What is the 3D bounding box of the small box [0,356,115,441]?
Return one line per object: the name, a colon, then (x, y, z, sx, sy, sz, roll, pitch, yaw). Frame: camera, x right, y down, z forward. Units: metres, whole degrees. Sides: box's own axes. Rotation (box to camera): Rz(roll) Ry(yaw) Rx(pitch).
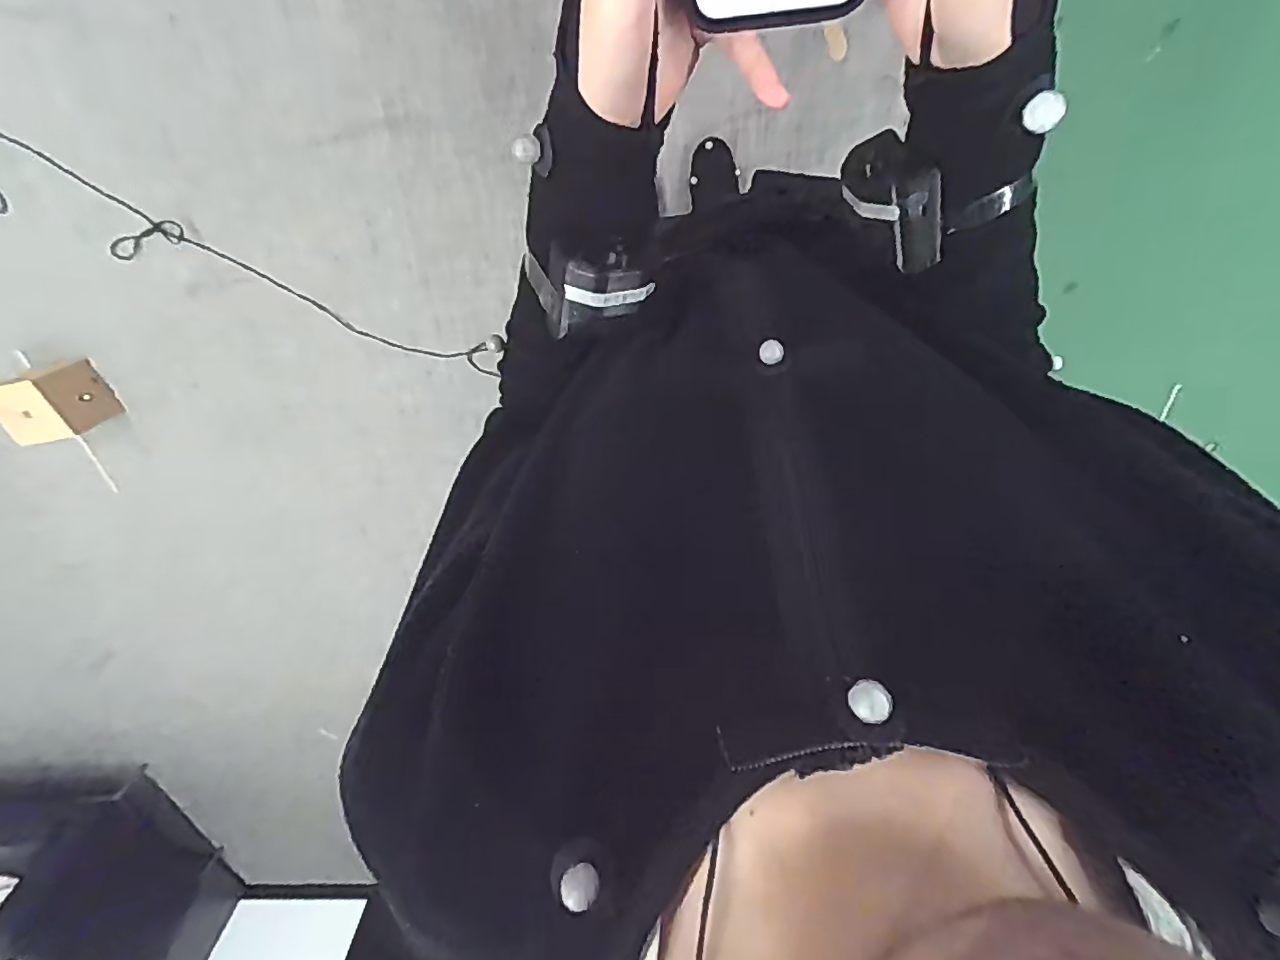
small box: (-1.602, -0.227, 1.472, 0.179, 0.176, 0.168, -7, 122, 6)
